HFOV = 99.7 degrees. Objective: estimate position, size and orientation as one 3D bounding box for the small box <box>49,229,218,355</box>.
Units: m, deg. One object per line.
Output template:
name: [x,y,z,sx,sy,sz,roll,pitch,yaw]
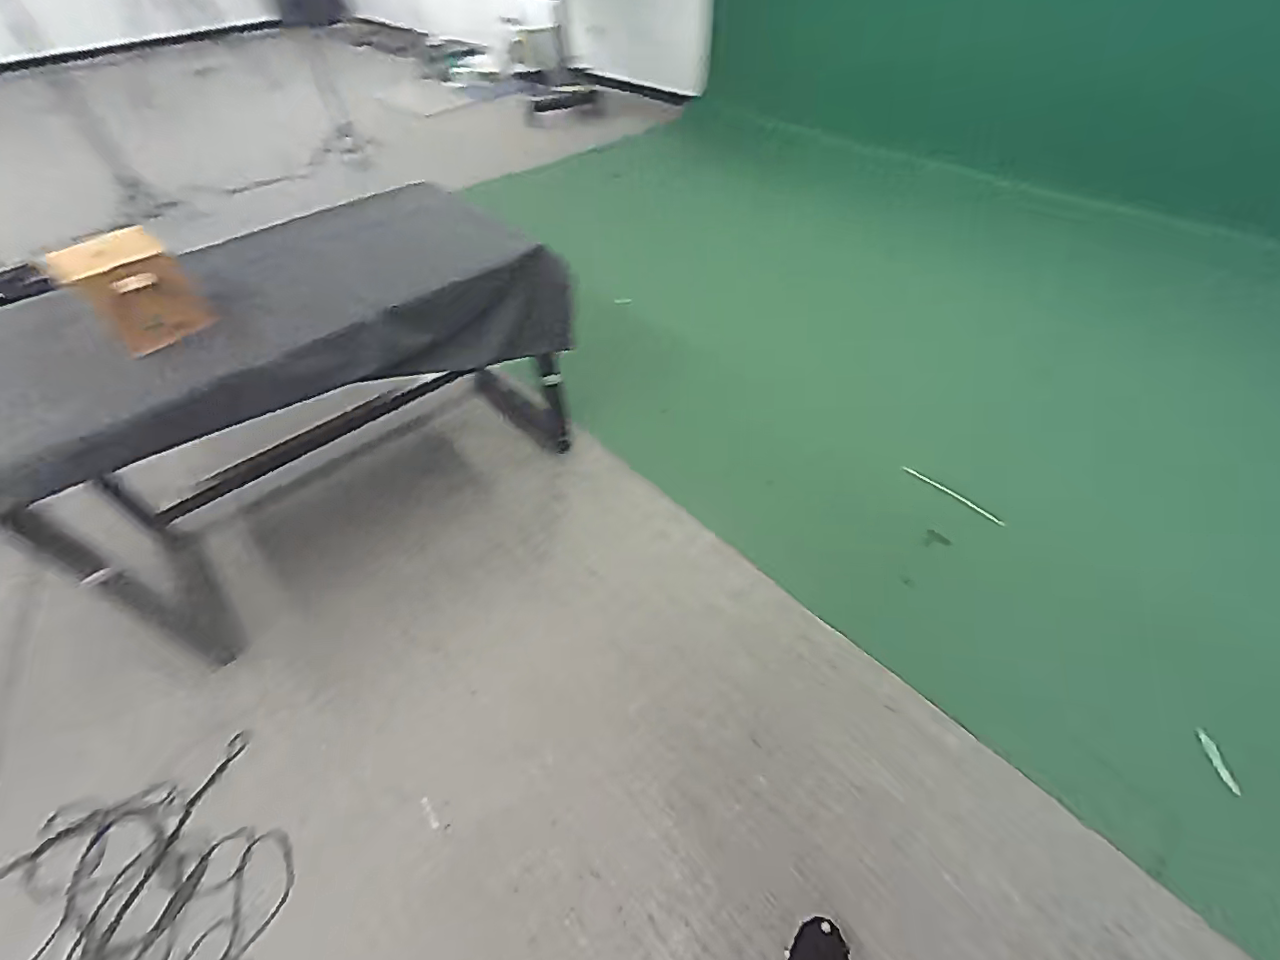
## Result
small box: [-1.021,-0.381,1.102,0.179,0.176,0.168,31,56,26]
